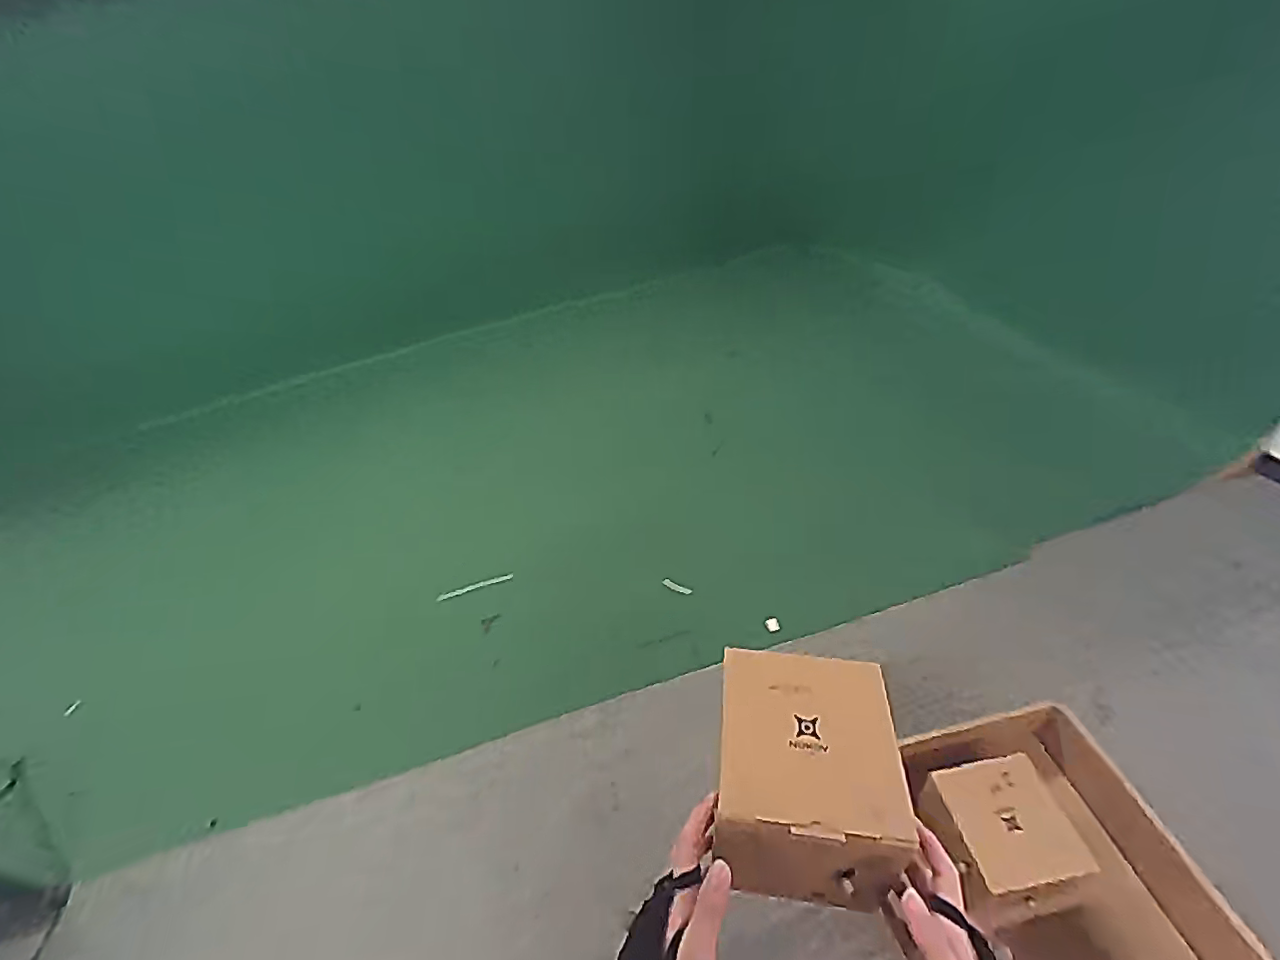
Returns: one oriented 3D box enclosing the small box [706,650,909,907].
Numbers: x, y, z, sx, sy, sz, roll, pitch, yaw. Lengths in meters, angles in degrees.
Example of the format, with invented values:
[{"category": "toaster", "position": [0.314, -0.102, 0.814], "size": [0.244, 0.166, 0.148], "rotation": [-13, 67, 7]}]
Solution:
[{"category": "small box", "position": [0.157, 0.307, 0.563], "size": [0.168, 0.176, 0.179], "rotation": [4, 36, 8]}]
